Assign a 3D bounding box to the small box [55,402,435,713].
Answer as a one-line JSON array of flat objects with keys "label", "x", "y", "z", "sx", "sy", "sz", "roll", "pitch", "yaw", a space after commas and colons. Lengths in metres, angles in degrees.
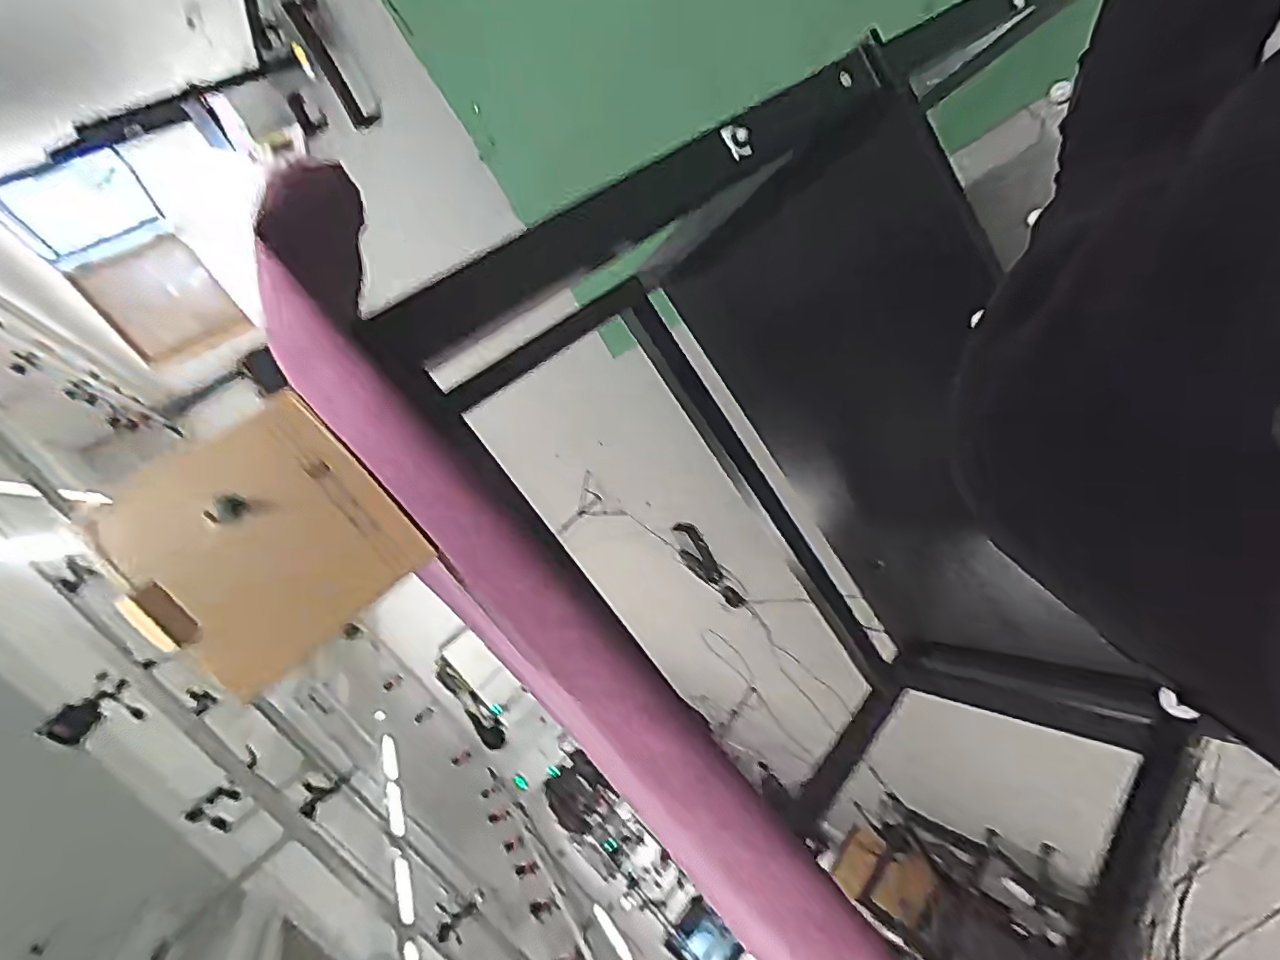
[{"label": "small box", "x": -0.296, "y": 0.055, "z": 0.458, "sx": 0.168, "sy": 0.176, "sz": 0.179, "roll": 53, "pitch": 158, "yaw": -10}]
